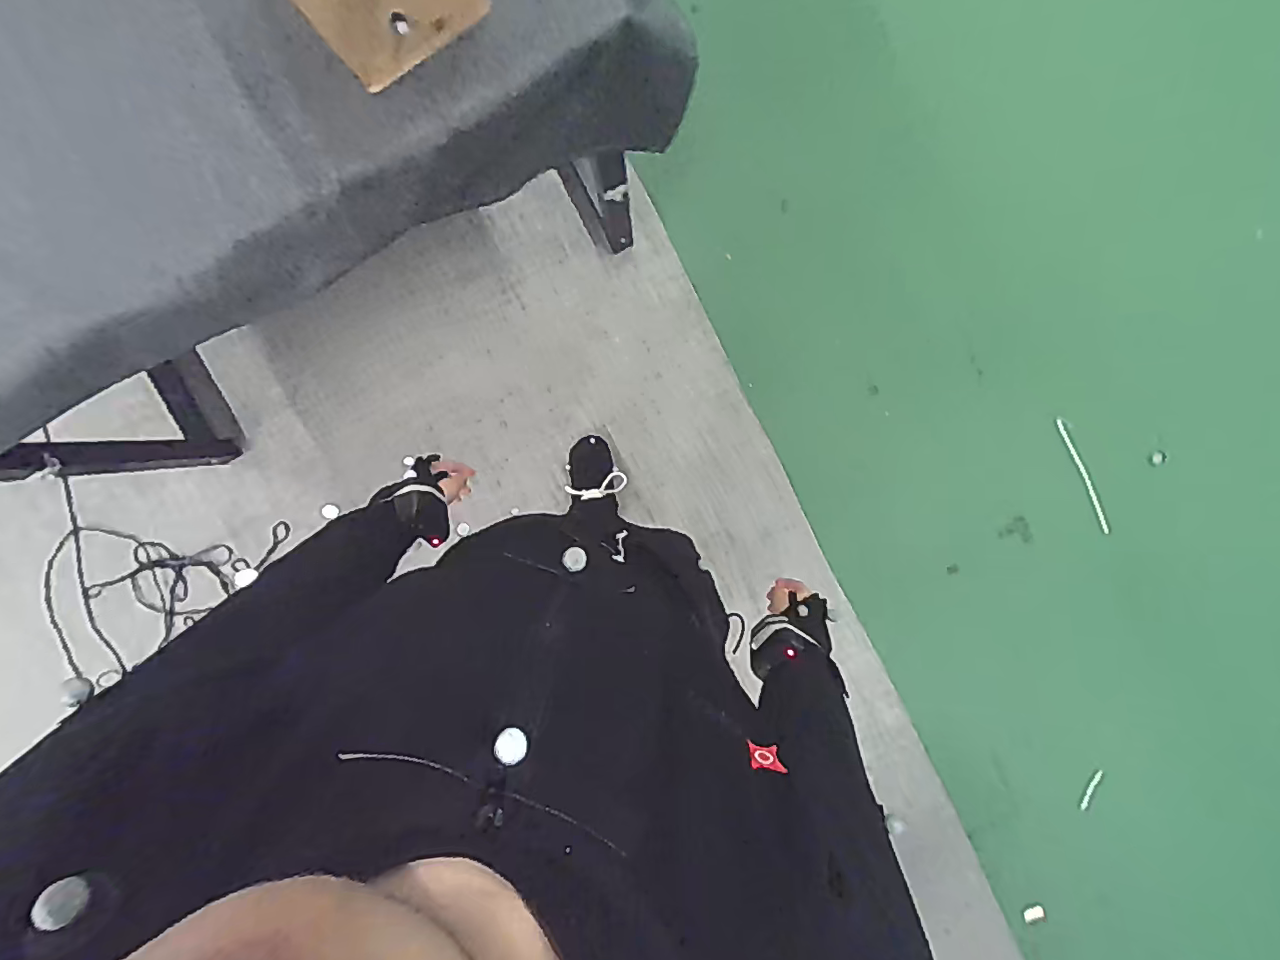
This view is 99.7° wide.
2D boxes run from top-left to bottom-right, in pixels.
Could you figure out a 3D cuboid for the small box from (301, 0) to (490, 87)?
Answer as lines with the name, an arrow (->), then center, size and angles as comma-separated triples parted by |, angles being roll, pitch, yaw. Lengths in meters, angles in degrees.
small box -> -0.271, -0.534, 0.507 | 0.168, 0.176, 0.179 | -32, 94, 4
